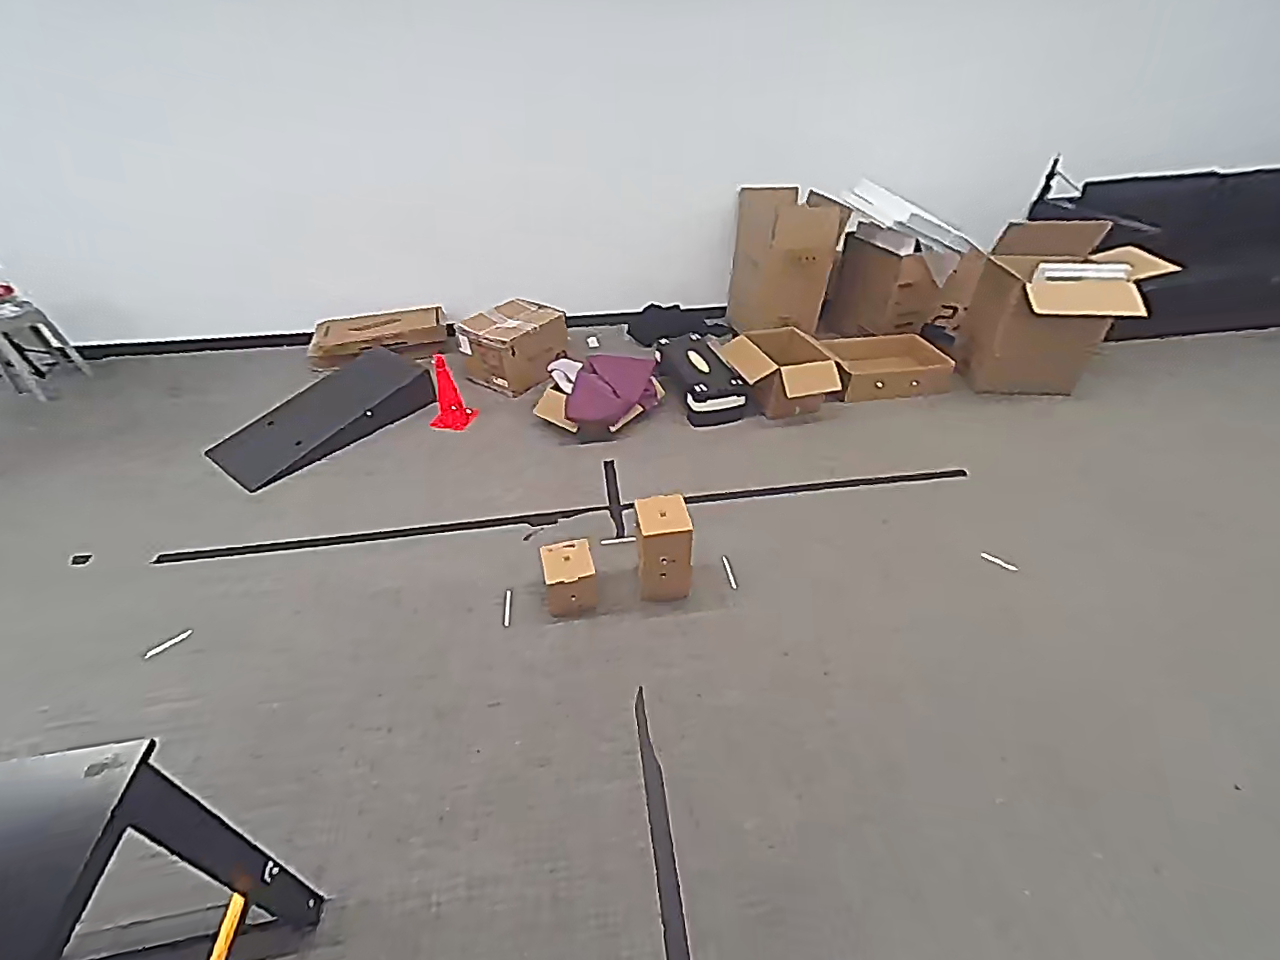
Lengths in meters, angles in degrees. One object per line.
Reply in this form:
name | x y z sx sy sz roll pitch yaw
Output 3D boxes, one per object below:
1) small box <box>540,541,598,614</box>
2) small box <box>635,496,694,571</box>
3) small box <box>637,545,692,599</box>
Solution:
small box | -0.242 0.341 1.863 0.168 0.176 0.179 -10 40 -11
small box | 0.077 0.179 1.805 0.168 0.176 0.179 -8 41 -7
small box | 0.083 0.306 1.906 0.179 0.176 0.168 -3 39 -5
